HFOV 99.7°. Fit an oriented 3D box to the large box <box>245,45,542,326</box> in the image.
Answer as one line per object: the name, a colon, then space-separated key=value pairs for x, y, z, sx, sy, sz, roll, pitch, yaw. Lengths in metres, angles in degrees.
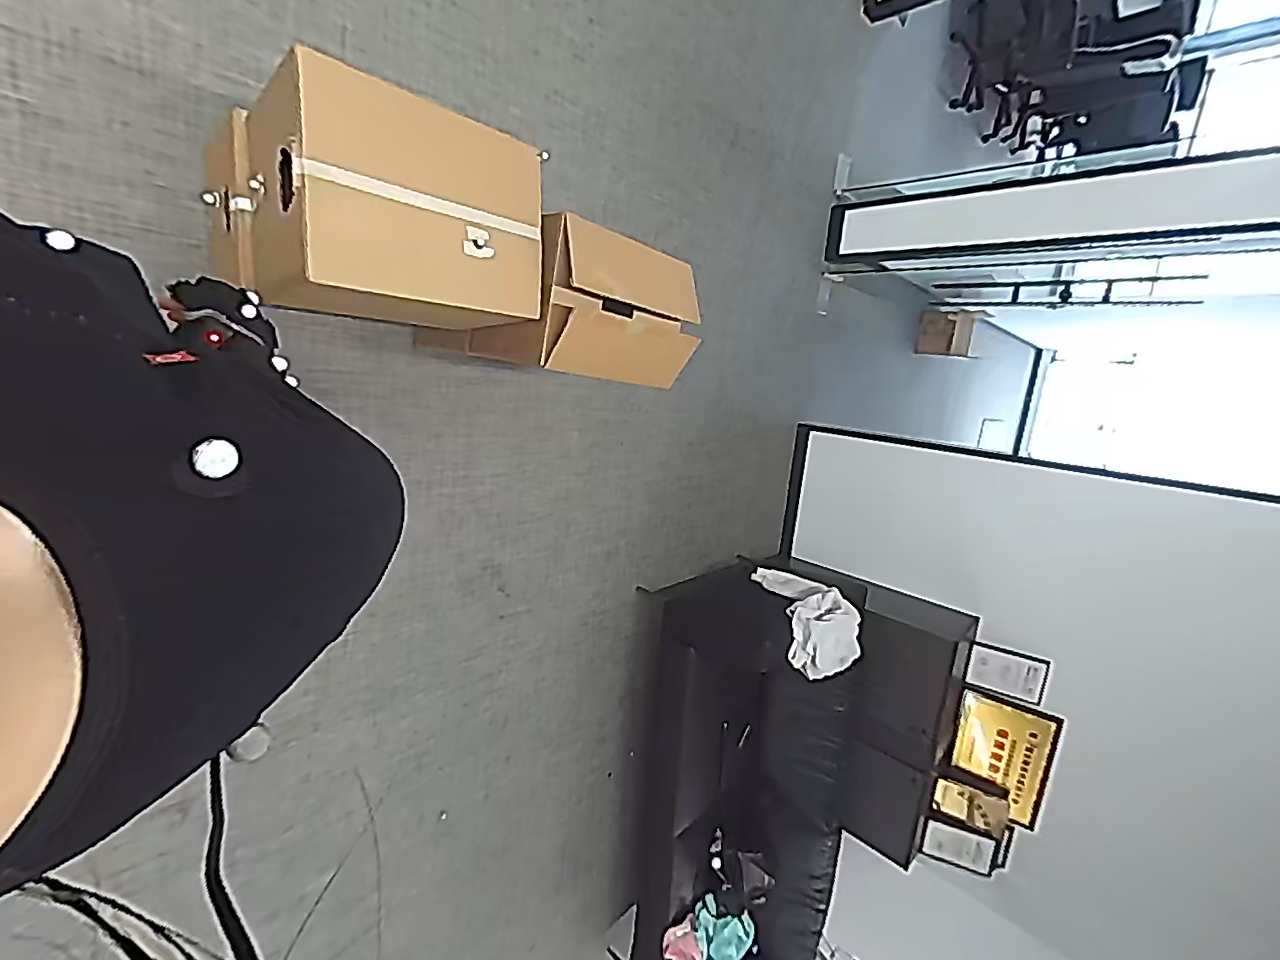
large box: x=-0.434 y=-0.470 z=0.984 sx=0.408 sy=0.320 sz=0.320 roll=-6 pitch=102 yaw=-46
